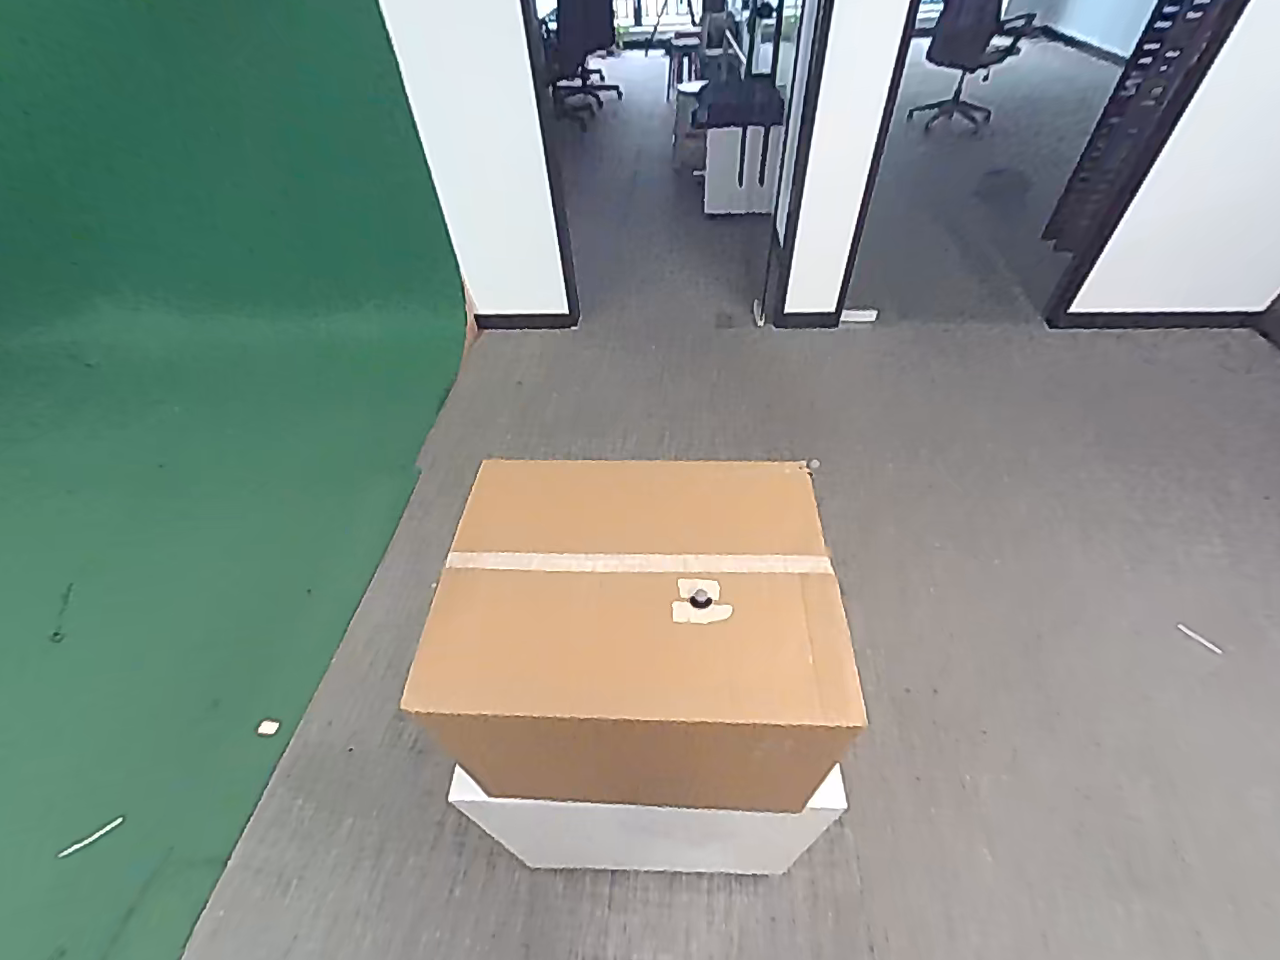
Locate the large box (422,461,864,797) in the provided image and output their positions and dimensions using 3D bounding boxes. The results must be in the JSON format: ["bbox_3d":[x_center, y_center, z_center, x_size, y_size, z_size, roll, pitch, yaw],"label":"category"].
[{"bbox_3d":[0.006,0.190,0.686,0.408,0.320,0.320,1,48,3],"label":"large box"}]
